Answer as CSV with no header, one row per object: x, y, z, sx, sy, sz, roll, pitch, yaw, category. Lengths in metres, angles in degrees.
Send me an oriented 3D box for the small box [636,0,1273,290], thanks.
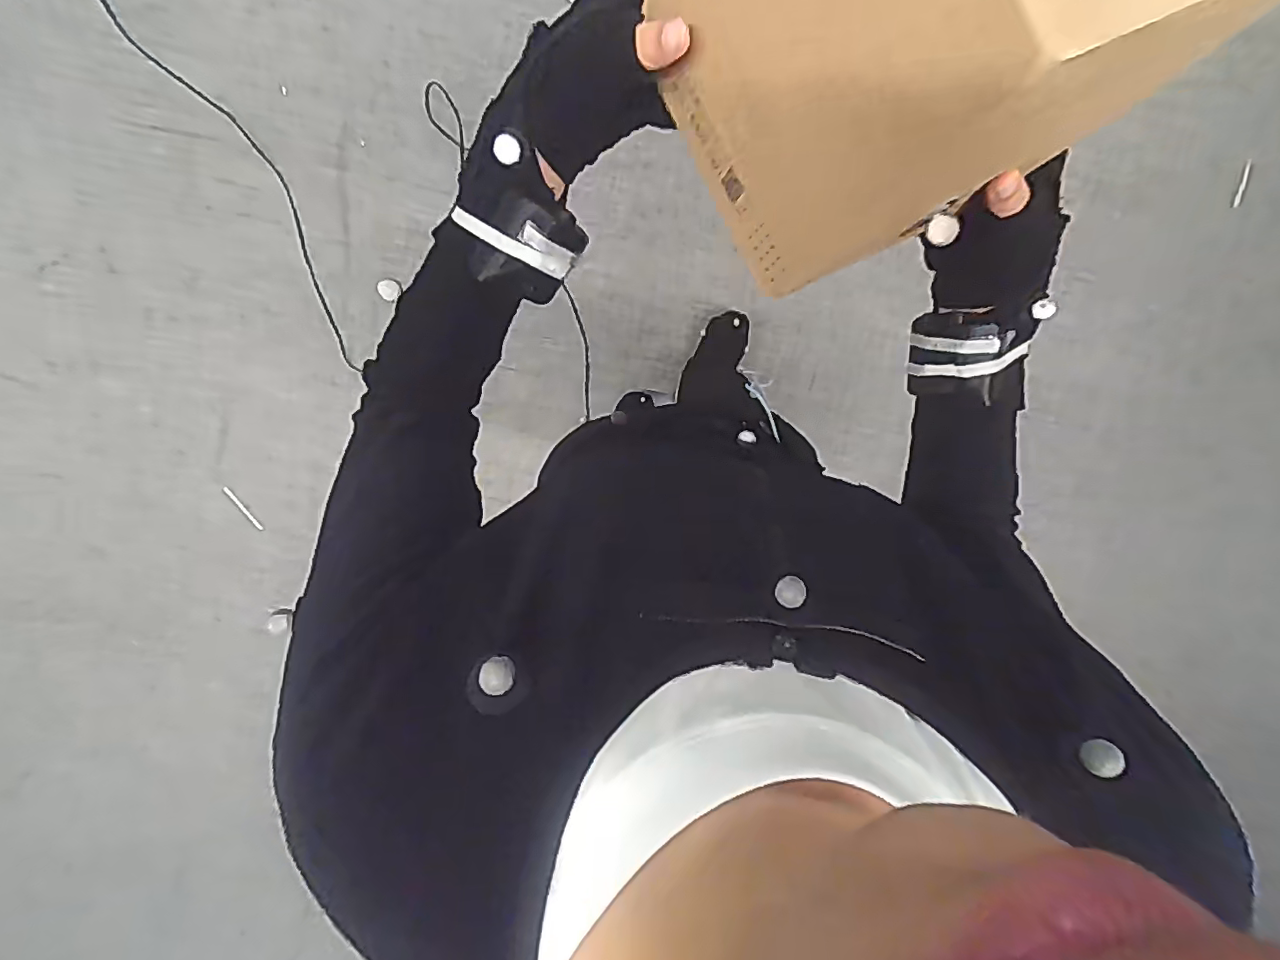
0.121,-0.216,0.239,0.179,0.176,0.168,-28,92,-14,small box
